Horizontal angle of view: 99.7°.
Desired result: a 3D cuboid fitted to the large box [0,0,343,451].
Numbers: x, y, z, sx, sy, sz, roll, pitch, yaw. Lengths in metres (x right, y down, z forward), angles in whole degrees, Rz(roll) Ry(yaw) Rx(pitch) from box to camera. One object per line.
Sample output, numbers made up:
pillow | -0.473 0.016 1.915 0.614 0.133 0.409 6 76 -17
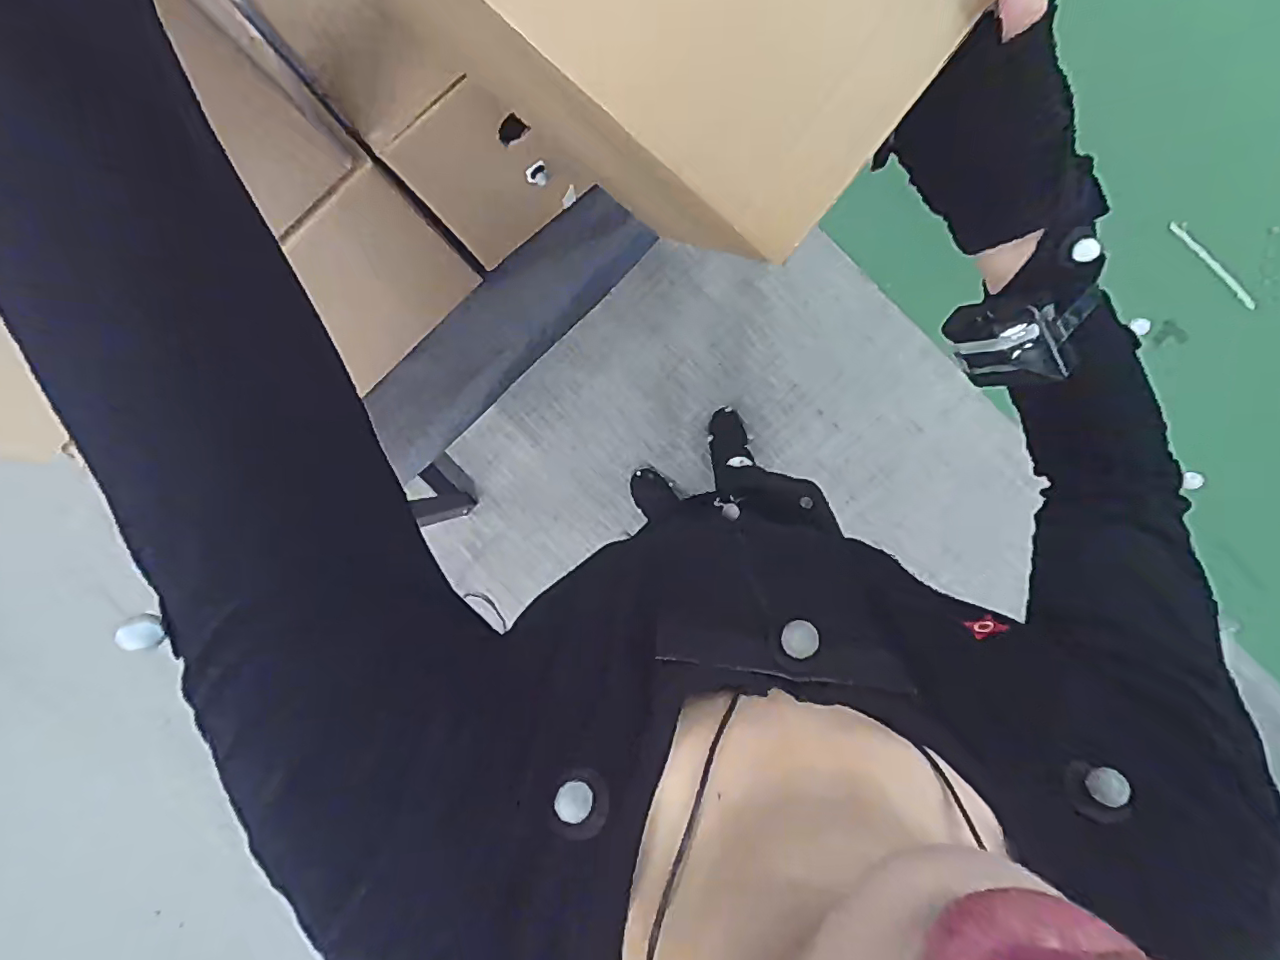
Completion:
large box | -0.507 -0.263 0.346 0.408 0.320 0.320 -42 88 4
